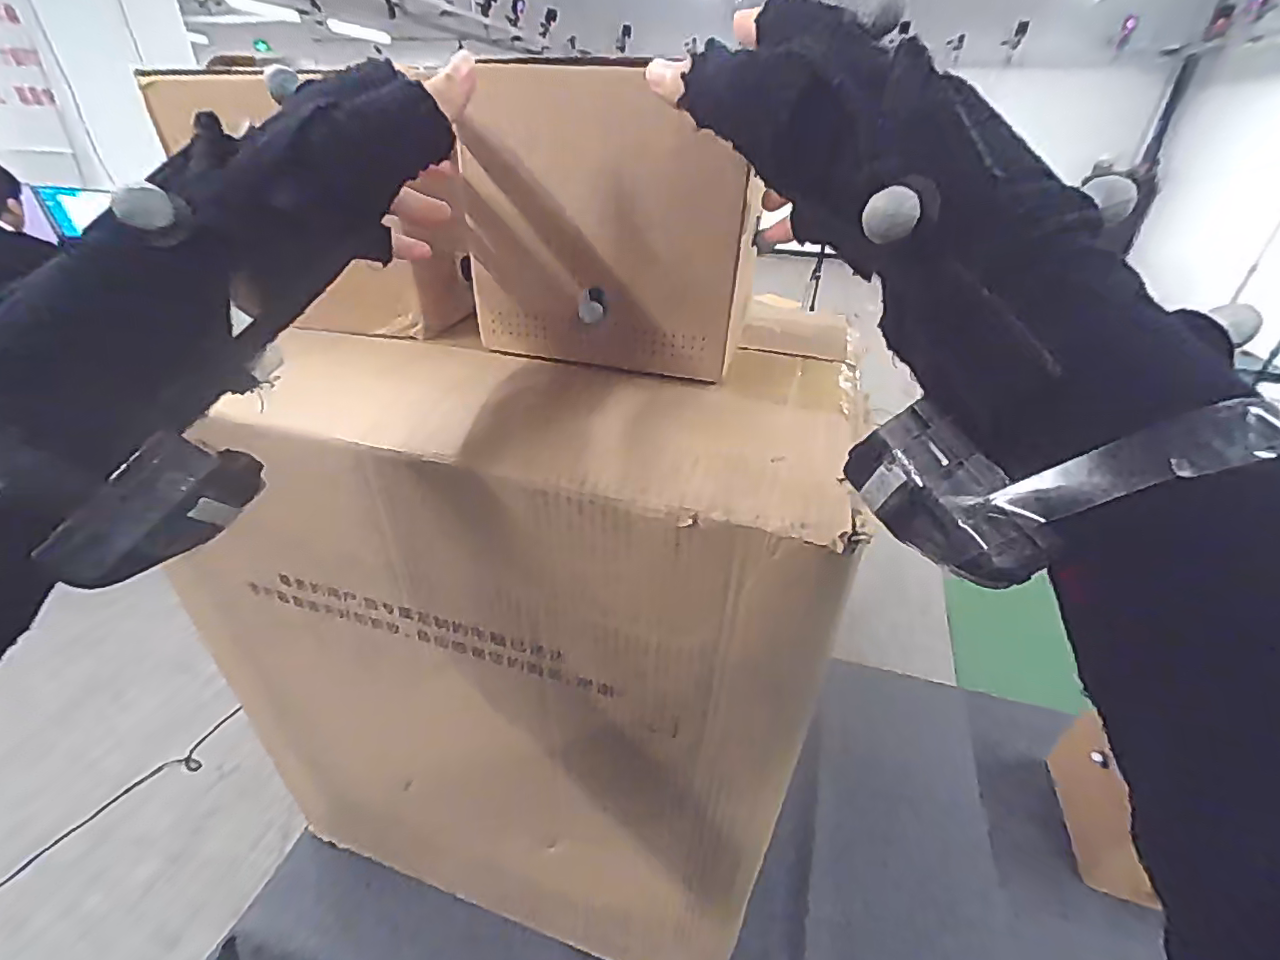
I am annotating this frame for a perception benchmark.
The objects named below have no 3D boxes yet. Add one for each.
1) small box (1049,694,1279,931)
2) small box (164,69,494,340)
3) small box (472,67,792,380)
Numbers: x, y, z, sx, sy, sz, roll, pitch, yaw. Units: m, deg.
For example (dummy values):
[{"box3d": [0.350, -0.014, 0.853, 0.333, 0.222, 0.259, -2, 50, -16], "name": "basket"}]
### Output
[{"box3d": [0.667, 0.418, 0.691, 0.168, 0.176, 0.179, 12, 34, 15], "name": "small box"}, {"box3d": [-0.211, -0.225, 0.444, 0.179, 0.176, 0.168, 9, 37, 10], "name": "small box"}, {"box3d": [0.003, -0.185, 0.397, 0.179, 0.176, 0.168, 11, 33, 11], "name": "small box"}]
